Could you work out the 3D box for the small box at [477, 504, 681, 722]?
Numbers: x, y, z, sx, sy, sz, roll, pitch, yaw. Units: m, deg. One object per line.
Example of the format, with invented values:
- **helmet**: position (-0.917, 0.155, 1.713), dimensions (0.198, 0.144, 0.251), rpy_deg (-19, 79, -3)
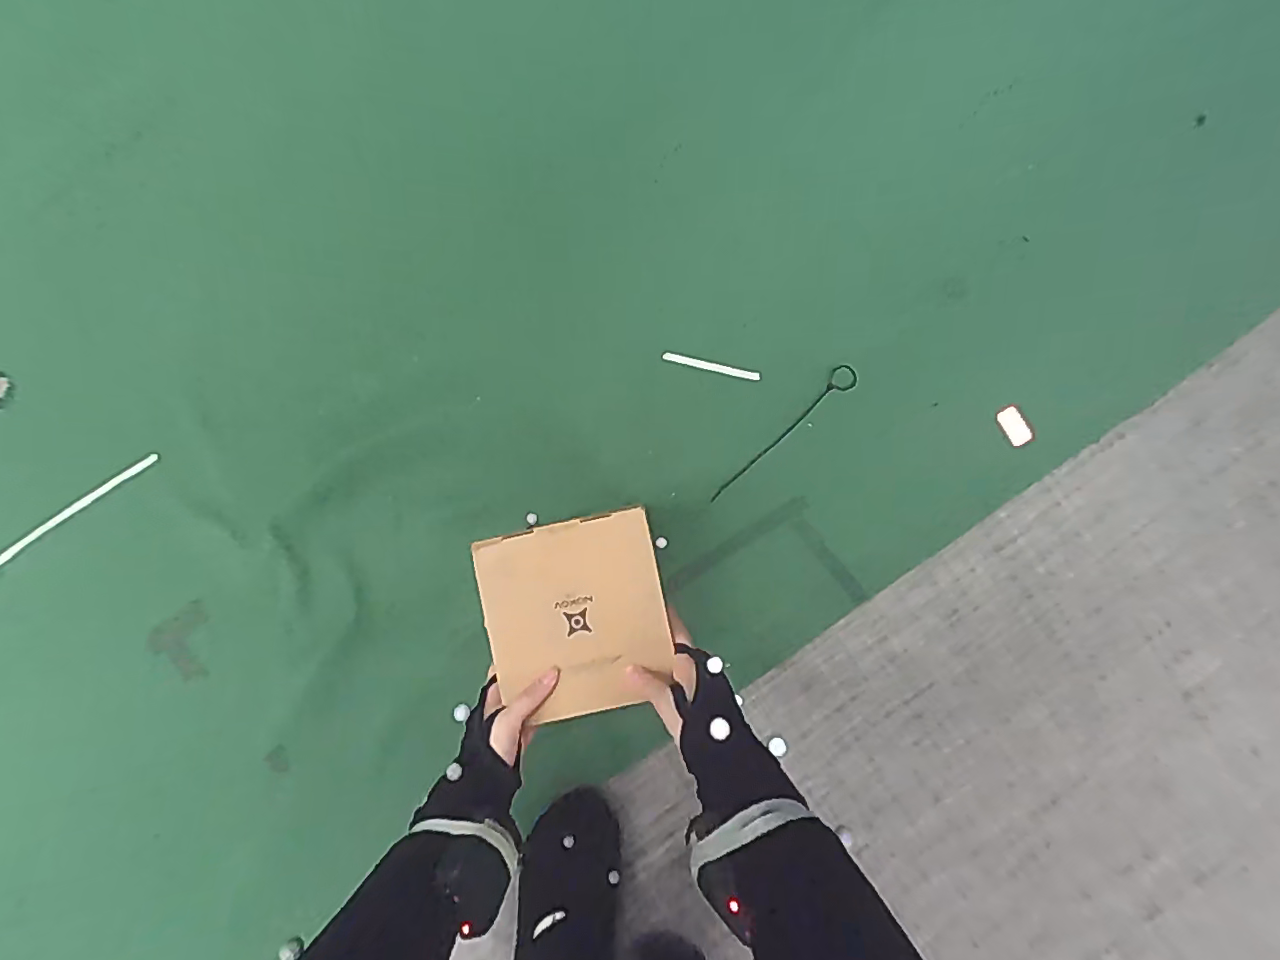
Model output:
- **small box**: position (-0.058, 0.126, 0.579), dimensions (0.168, 0.176, 0.179), rpy_deg (-12, 88, 0)
